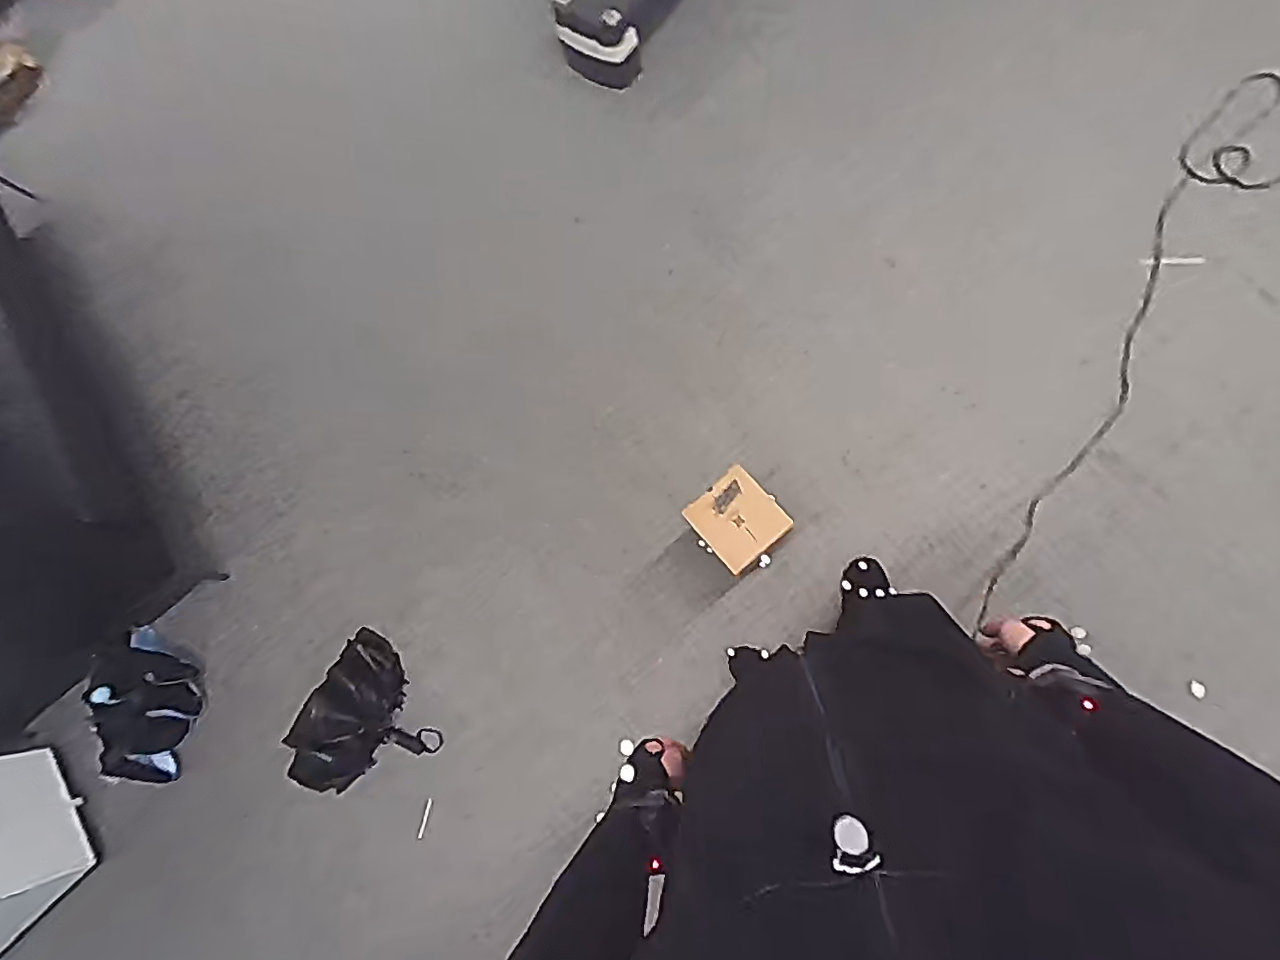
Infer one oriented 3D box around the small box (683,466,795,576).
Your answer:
[{"bbox_3d":[0.220,0.101,1.209,0.168,0.176,0.179,-41,73,1],"label":"small box"}]
